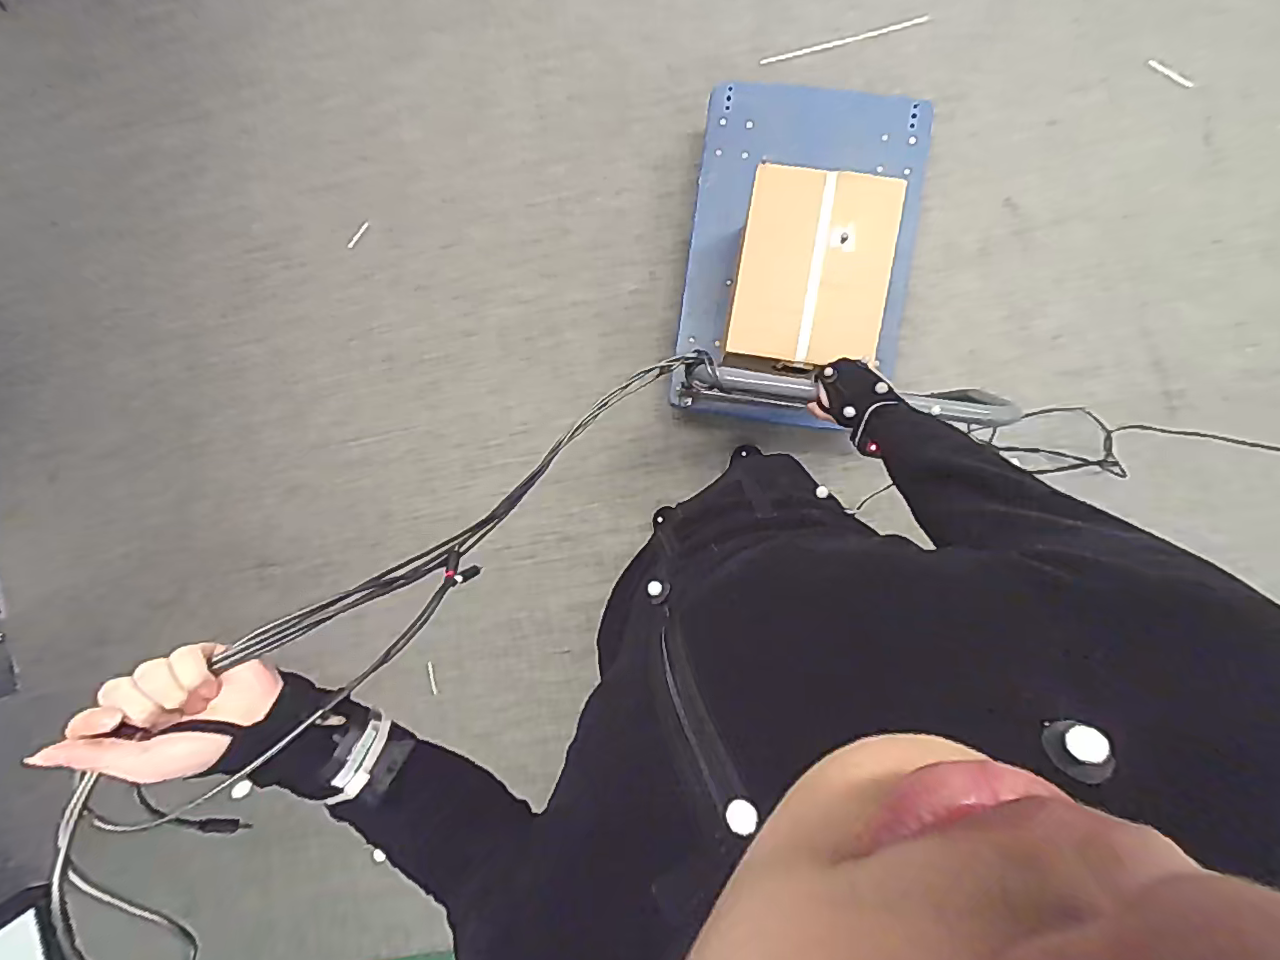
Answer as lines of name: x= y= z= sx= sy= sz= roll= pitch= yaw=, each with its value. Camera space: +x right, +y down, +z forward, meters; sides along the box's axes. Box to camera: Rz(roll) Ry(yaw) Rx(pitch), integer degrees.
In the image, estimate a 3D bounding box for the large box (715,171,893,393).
large box: x=0.367 y=-0.445 z=1.298 sx=0.320 sy=0.320 sz=0.408 roll=9 pitch=91 yaw=3
